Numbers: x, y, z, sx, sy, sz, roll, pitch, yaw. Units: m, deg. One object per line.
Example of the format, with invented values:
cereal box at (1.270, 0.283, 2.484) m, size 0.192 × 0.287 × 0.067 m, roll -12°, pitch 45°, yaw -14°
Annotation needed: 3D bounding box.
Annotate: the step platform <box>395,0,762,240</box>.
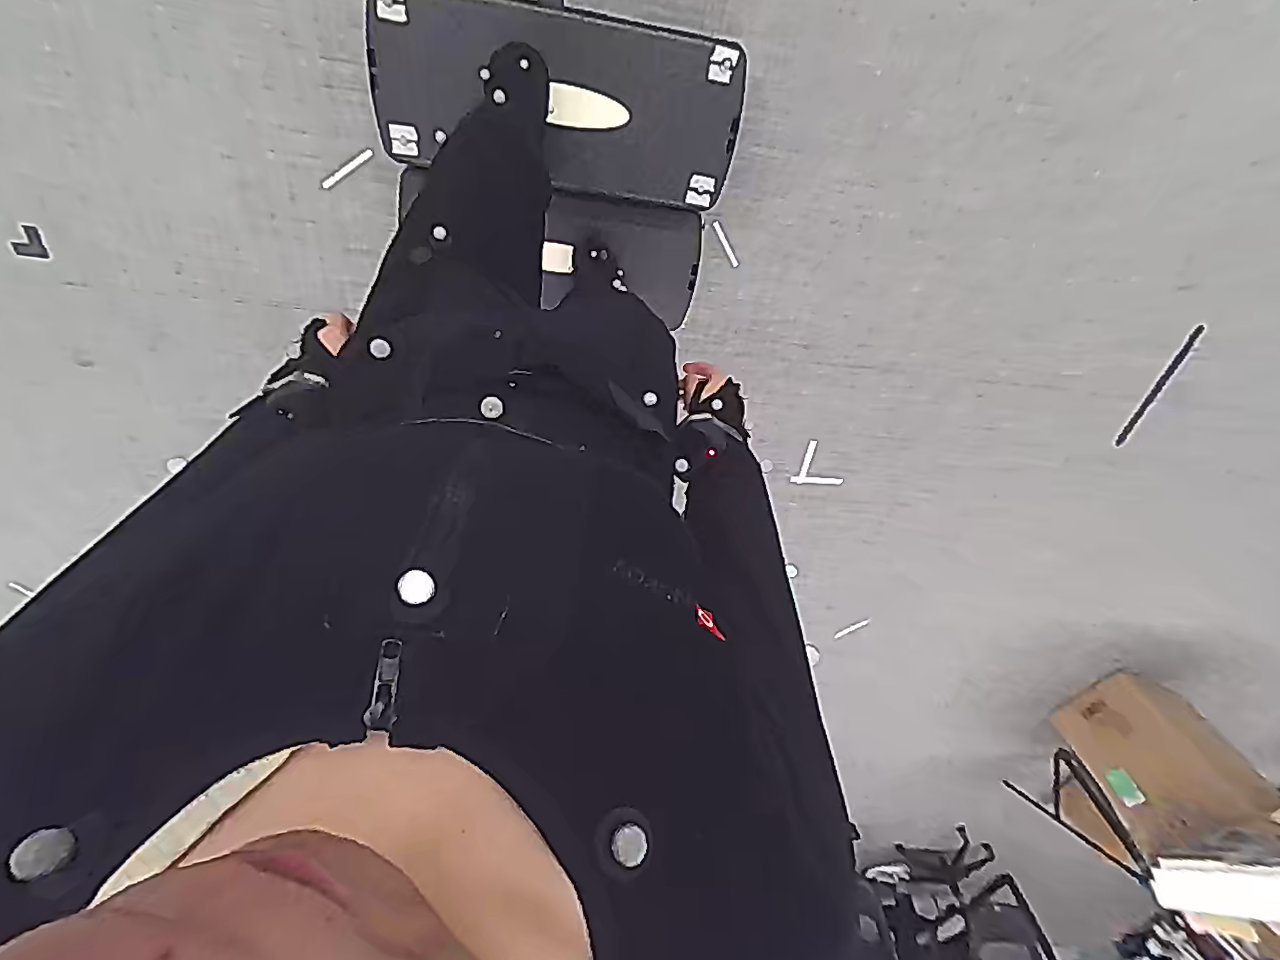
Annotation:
step platform at (-0.113, -0.702, 1.074) m, size 0.684 × 0.204 × 0.286 m, roll 8°, pitch 122°, yaw -11°
